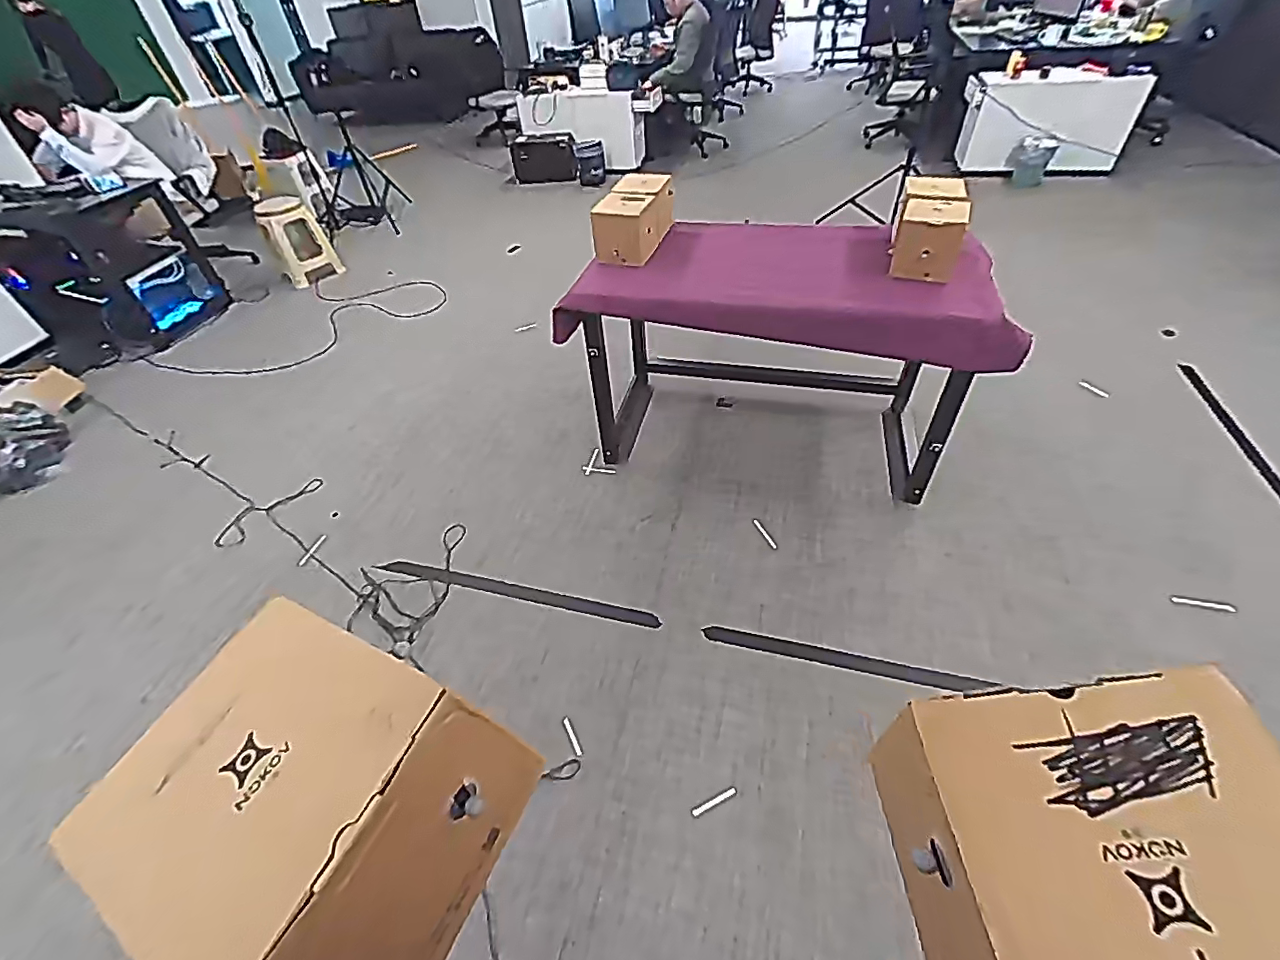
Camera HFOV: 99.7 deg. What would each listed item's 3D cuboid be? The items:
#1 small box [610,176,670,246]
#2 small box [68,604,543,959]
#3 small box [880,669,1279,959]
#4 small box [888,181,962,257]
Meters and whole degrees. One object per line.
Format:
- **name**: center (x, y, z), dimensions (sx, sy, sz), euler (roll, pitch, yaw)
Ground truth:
- **small box**: center (0.004, -0.951, 1.911), dimensions (0.168, 0.176, 0.179), euler (11, 48, 16)
- **small box**: center (-0.194, 0.216, 0.366), dimensions (0.179, 0.176, 0.168), euler (13, 54, 27)
- **small box**: center (0.259, 0.232, 0.317), dimensions (0.168, 0.176, 0.179), euler (-11, 52, 7)
- **small box**: center (0.891, -0.825, 1.706), dimensions (0.168, 0.176, 0.179), euler (11, 47, 15)
